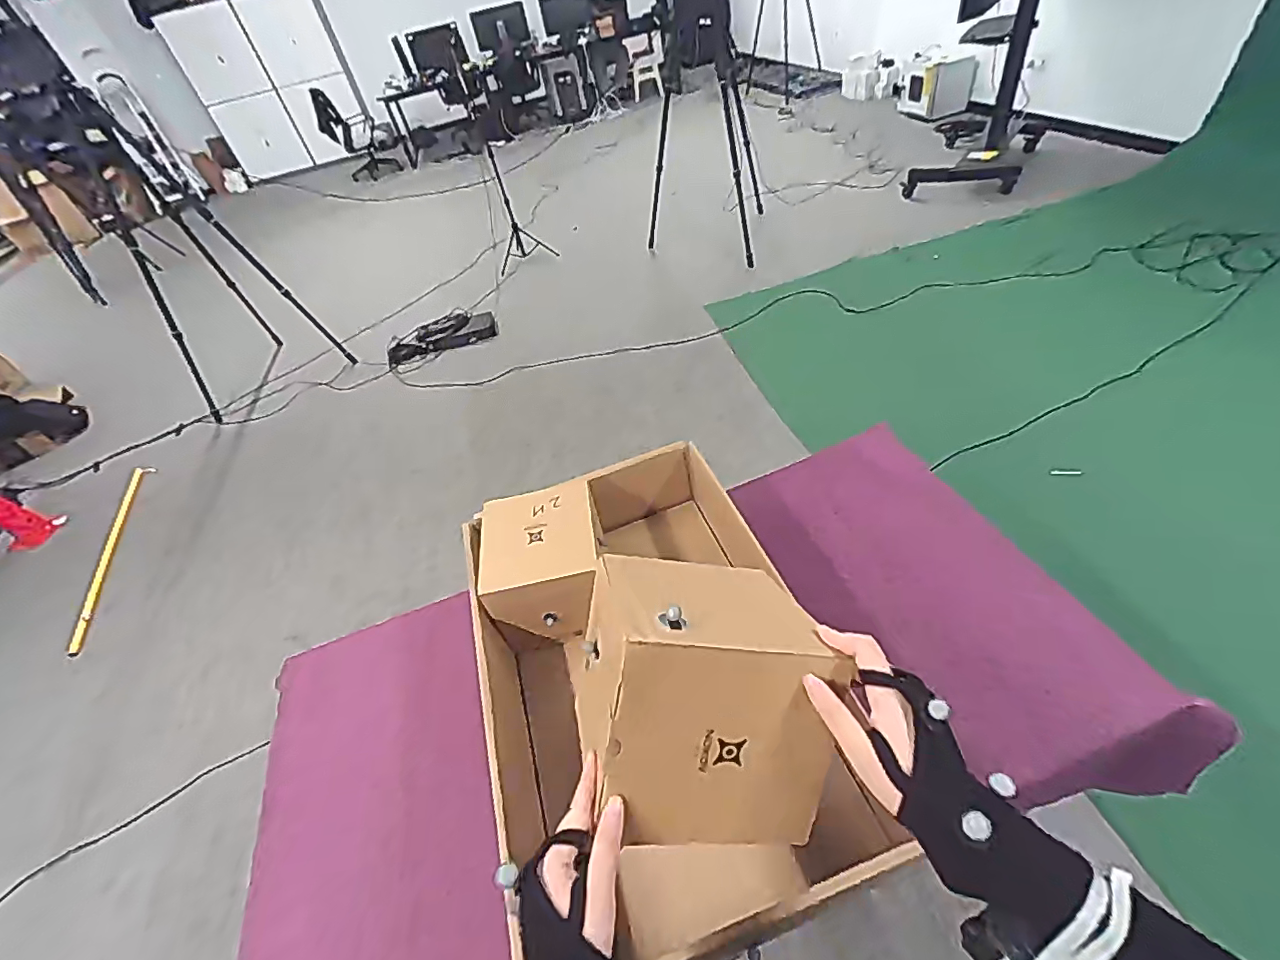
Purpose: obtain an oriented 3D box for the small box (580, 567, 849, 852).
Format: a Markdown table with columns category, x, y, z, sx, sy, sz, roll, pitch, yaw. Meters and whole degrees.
| category | x | y | z | sx | sy | sz | roll | pitch | yaw |
| --- | --- | --- | --- | --- | --- | --- | --- | --- | --- |
| small box | 0.046 | 0.187 | 0.477 | 0.179 | 0.168 | 0.176 | 7 | 12 | -10 |
